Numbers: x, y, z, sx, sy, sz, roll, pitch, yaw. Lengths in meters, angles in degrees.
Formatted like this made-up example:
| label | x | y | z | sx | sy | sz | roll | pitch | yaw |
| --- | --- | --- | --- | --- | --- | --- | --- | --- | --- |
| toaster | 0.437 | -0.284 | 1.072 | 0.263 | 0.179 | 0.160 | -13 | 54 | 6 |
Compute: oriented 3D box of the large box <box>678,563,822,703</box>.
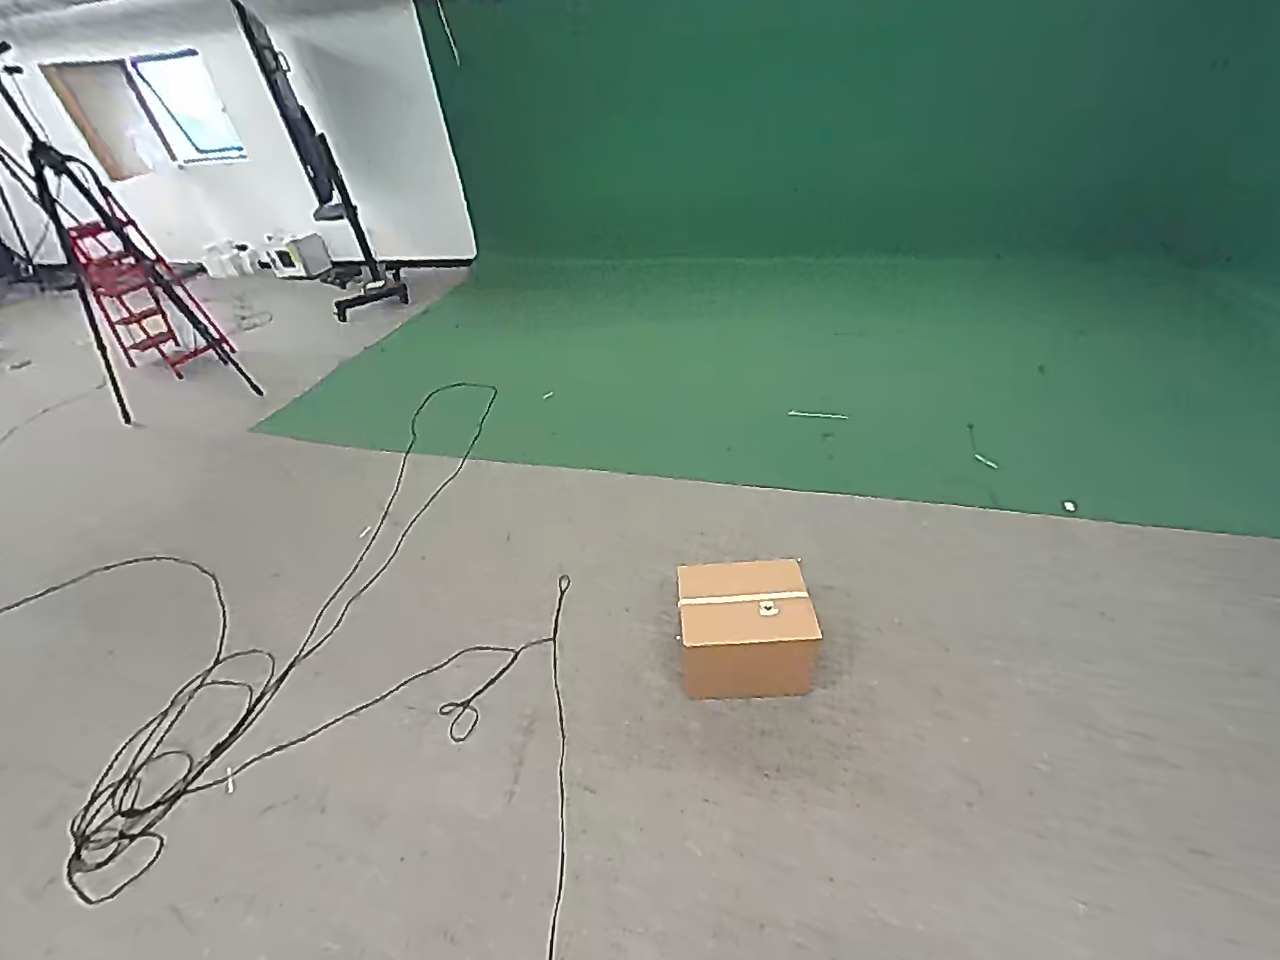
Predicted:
| label | x | y | z | sx | sy | sz | roll | pitch | yaw |
| --- | --- | --- | --- | --- | --- | --- | --- | --- | --- |
| large box | 0.340 | 0.502 | 1.778 | 0.408 | 0.320 | 0.320 | -4 | 38 | 2 |
